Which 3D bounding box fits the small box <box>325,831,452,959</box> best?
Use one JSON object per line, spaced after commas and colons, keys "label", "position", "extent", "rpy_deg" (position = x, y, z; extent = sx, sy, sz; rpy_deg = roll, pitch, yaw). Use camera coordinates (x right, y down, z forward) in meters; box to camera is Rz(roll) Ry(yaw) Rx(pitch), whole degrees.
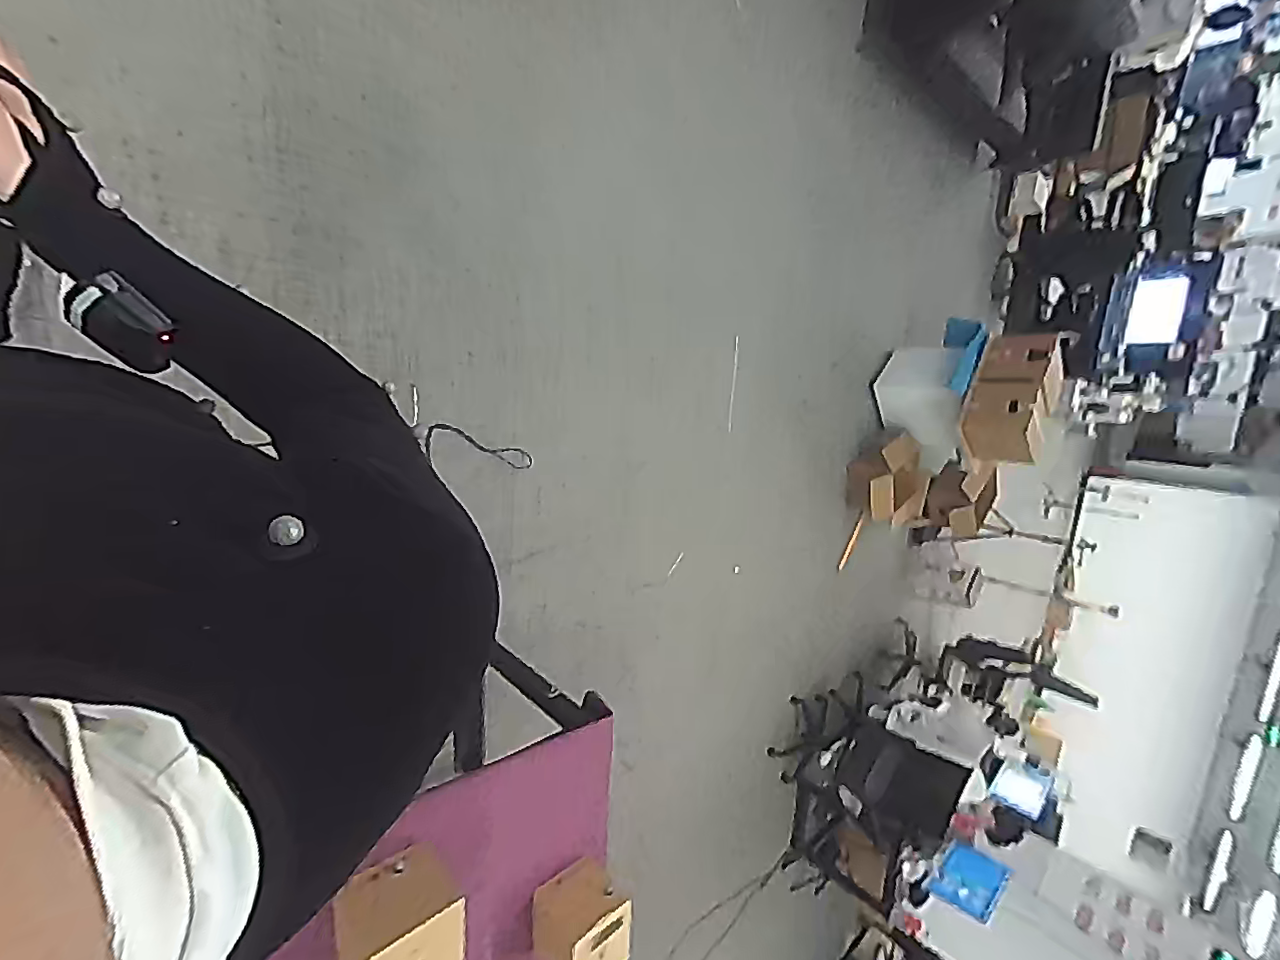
{"label": "small box", "position": [-0.454, 0.790, 0.972], "extent": [0.168, 0.176, 0.179], "rpy_deg": [-6, 106, -43]}
